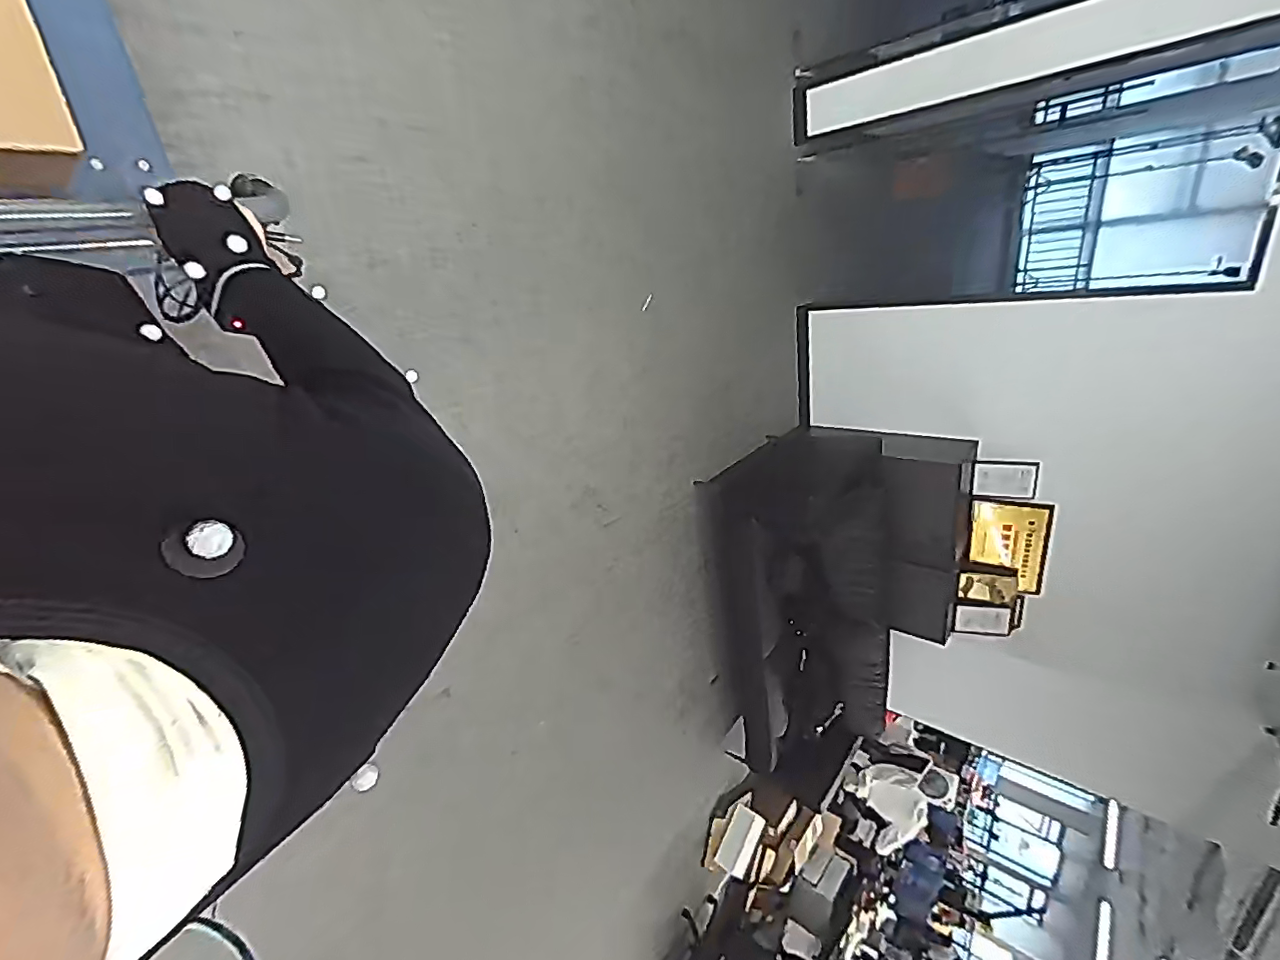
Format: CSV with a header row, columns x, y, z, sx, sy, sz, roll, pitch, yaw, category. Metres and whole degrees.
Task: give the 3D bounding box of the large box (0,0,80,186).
x,y,z,sx,sy,sz,roll,pitch,yaw,category
-1.035,-0.633,0.701,0.320,0.320,0.408,-27,119,-44,large box
